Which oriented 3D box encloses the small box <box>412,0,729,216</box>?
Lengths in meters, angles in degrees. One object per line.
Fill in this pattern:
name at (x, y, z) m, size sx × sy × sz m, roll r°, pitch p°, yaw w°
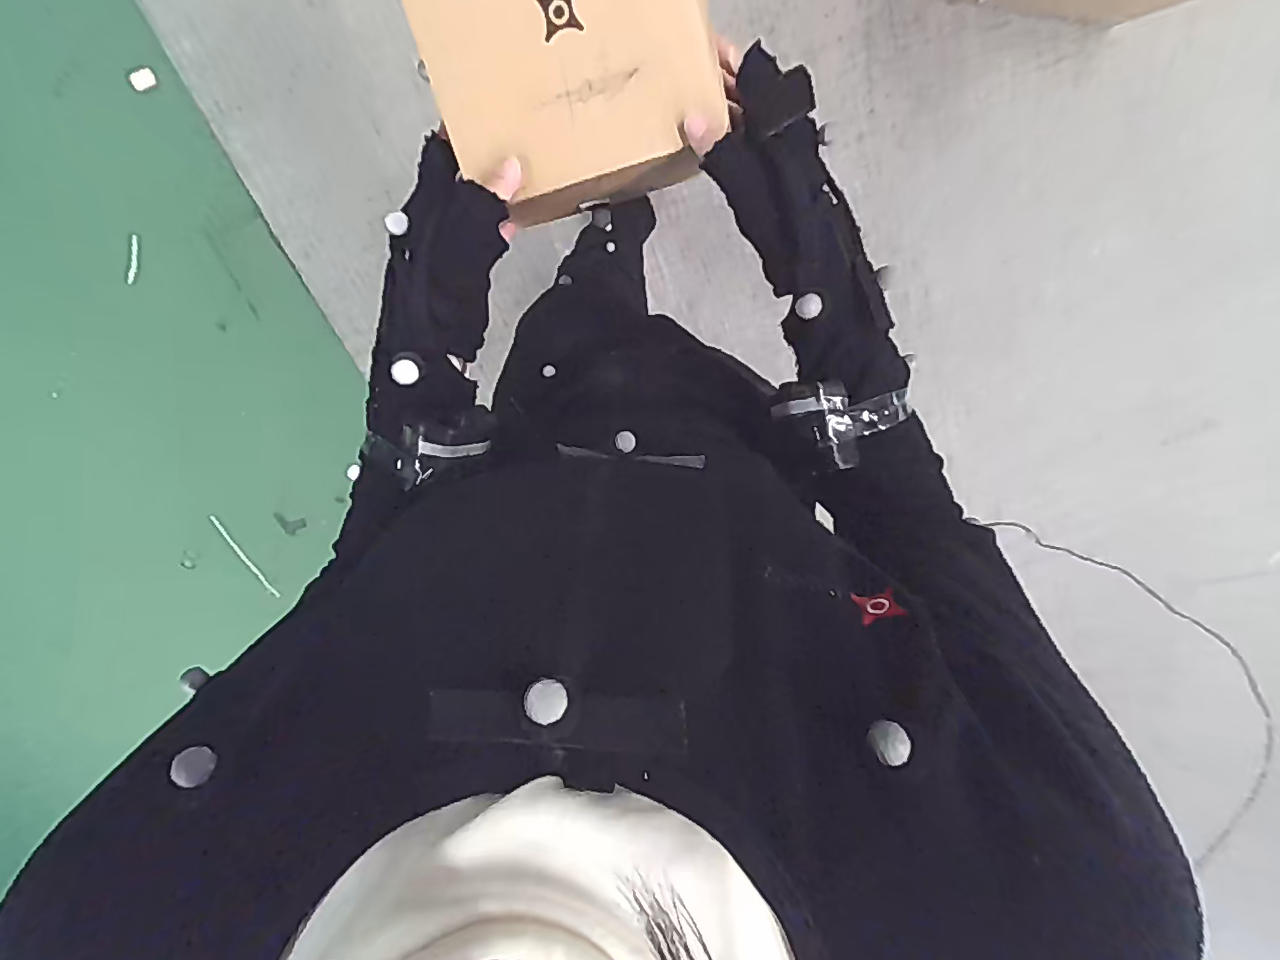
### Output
small box at (-0.046, -0.305, 0.376) m, size 0.168 × 0.176 × 0.179 m, roll -14°, pitch 111°, yaw 7°
